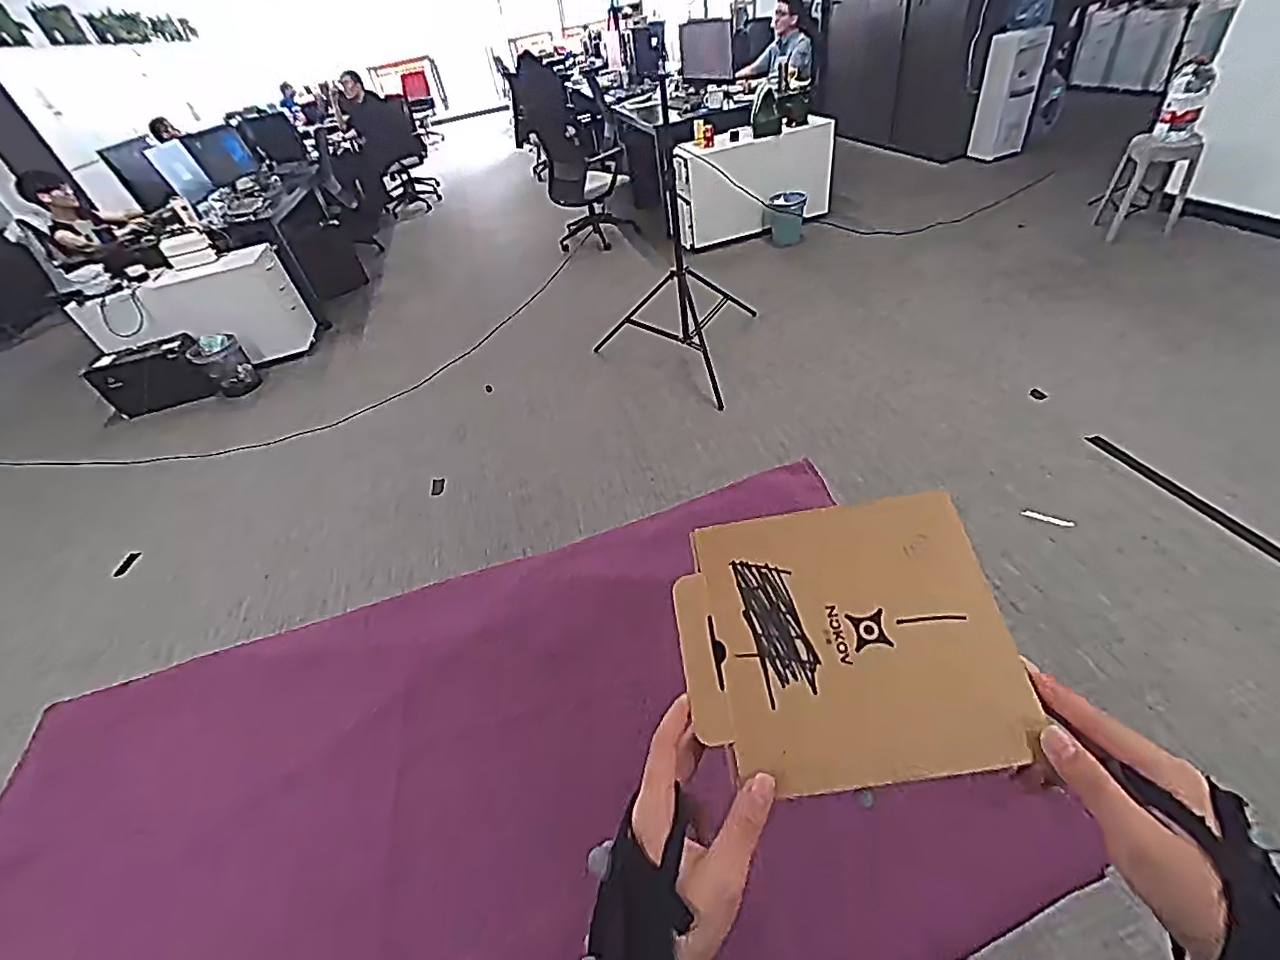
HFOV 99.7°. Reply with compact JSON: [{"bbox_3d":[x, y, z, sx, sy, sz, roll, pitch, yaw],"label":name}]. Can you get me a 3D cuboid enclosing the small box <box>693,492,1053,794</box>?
[{"bbox_3d":[0.141,0.129,0.404,0.179,0.176,0.168,-9,62,2],"label":"small box"}]
